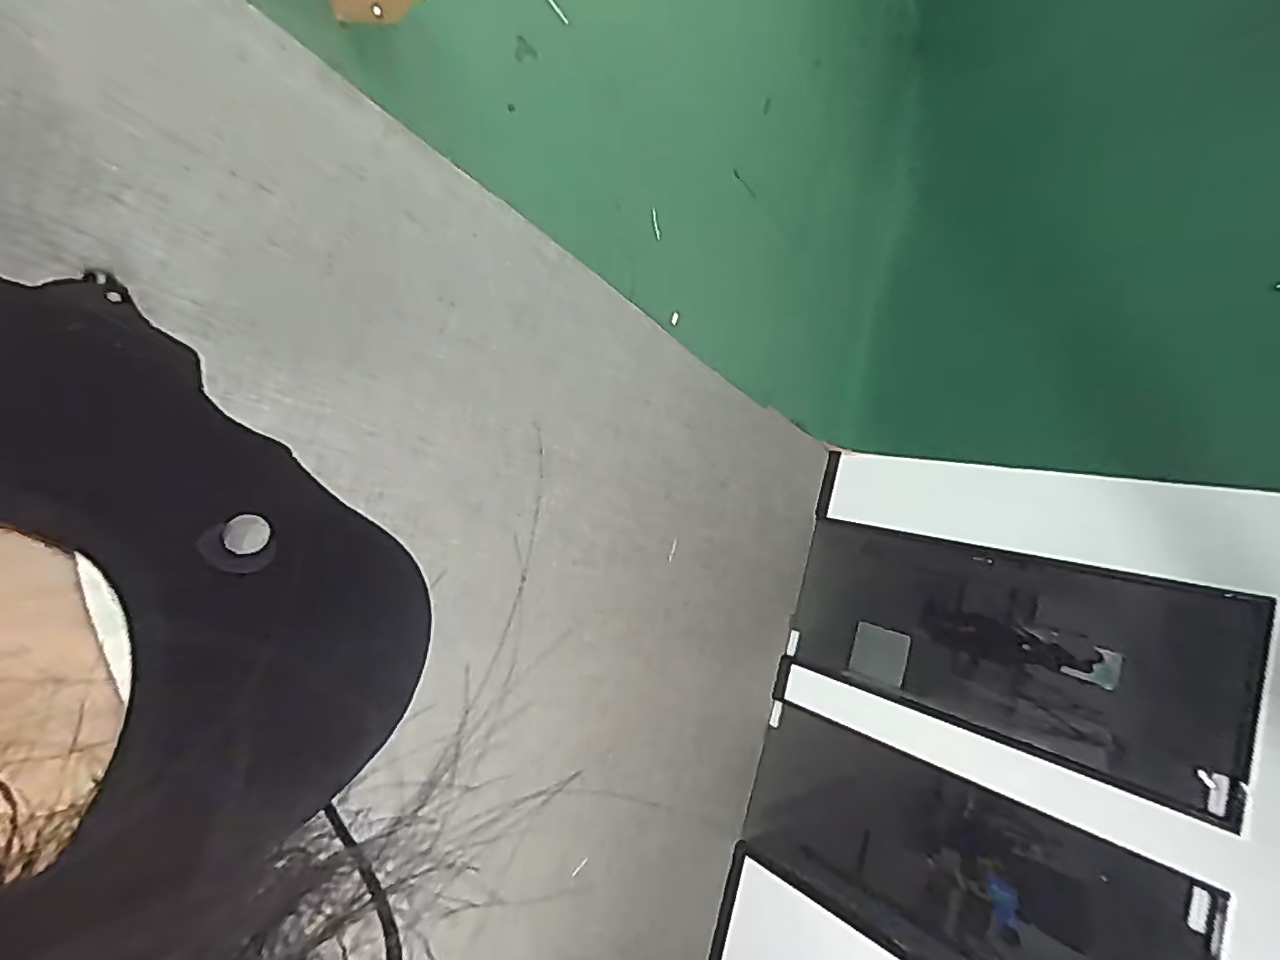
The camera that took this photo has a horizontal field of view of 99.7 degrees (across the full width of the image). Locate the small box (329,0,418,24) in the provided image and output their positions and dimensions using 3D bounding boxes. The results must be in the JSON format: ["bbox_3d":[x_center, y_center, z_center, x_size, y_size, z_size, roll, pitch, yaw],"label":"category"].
[{"bbox_3d":[-0.624,-1.176,1.229,0.168,0.176,0.179,-37,123,-37],"label":"small box"}]
